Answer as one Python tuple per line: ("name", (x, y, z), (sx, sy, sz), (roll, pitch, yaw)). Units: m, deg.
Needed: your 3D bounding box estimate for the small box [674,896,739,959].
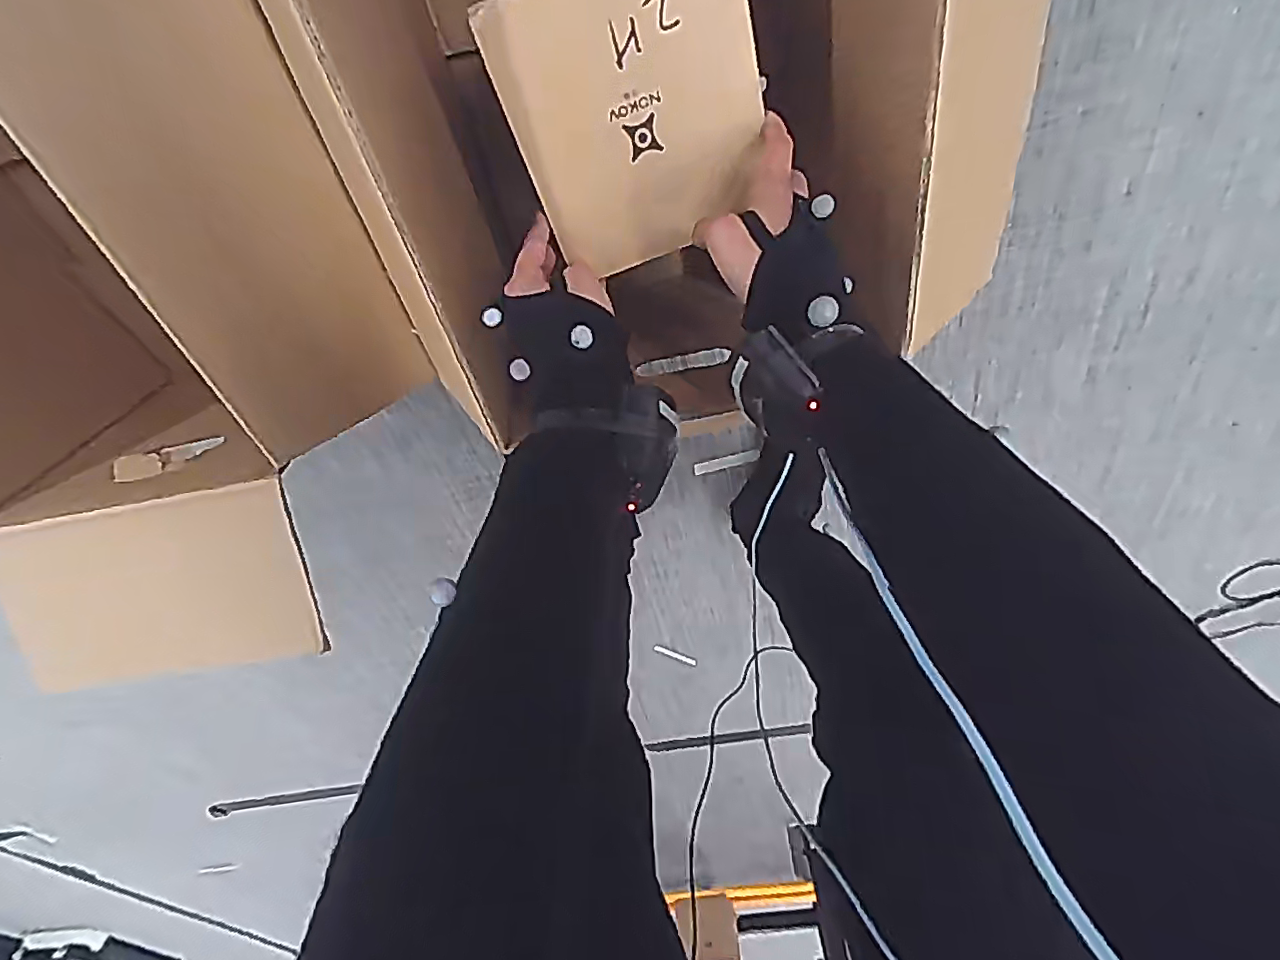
("small box", (0.214, 1.473, 1.754), (0.179, 0.176, 0.168), (-12, 128, 10))
